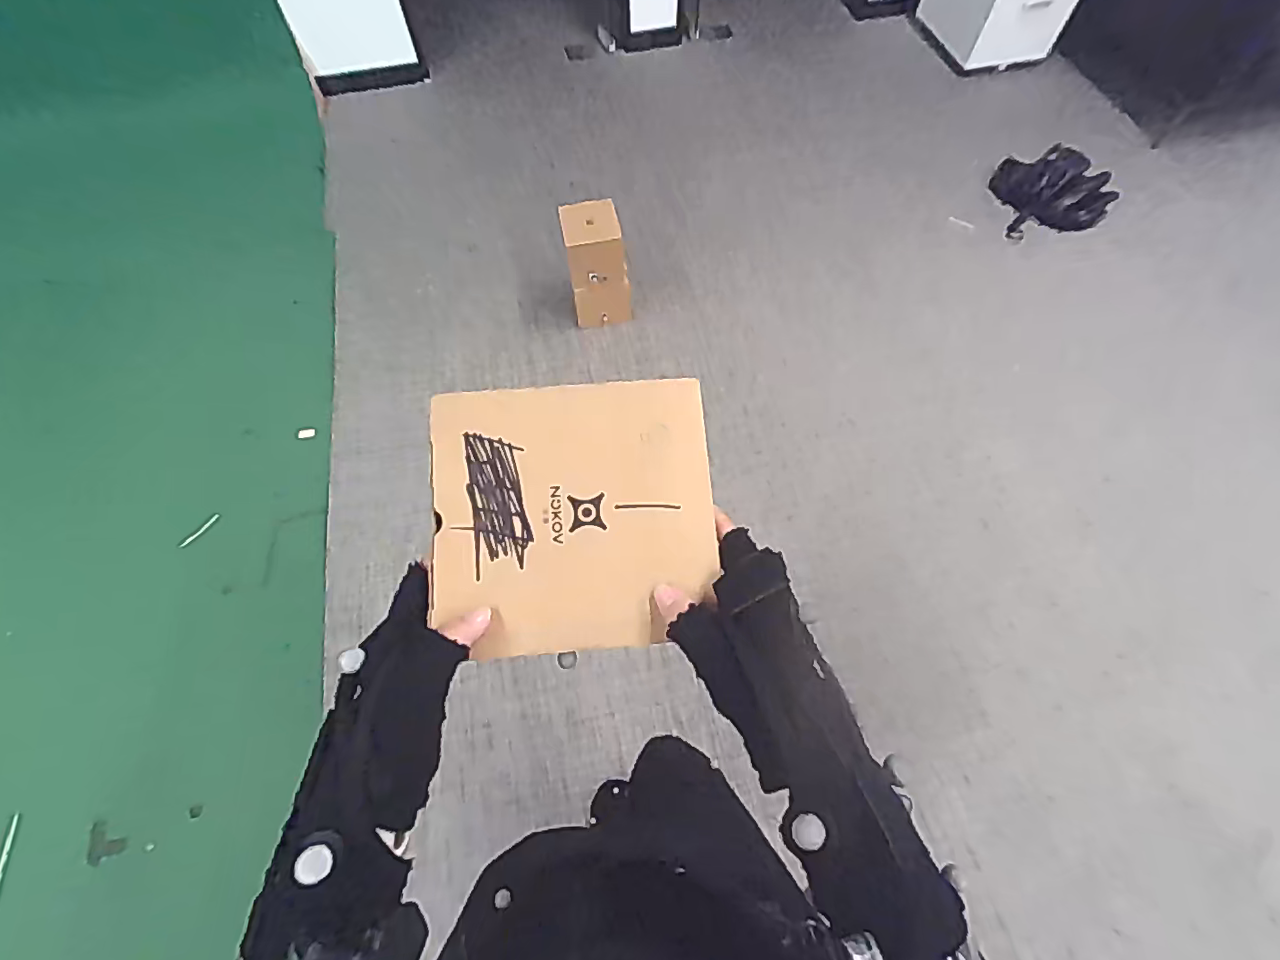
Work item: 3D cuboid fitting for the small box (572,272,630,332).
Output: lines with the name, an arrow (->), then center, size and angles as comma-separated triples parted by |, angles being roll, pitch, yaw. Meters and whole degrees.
small box -> -0.132, -0.615, 1.793 | 0.179, 0.176, 0.168 | -10, 63, -5

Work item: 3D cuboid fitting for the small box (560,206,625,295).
small box -> -0.143, -0.698, 1.652 | 0.168, 0.176, 0.179 | -12, 64, -3

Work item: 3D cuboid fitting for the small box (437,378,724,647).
small box -> -0.042, 0.034, 0.420 | 0.179, 0.176, 0.168 | -5, 78, -3
